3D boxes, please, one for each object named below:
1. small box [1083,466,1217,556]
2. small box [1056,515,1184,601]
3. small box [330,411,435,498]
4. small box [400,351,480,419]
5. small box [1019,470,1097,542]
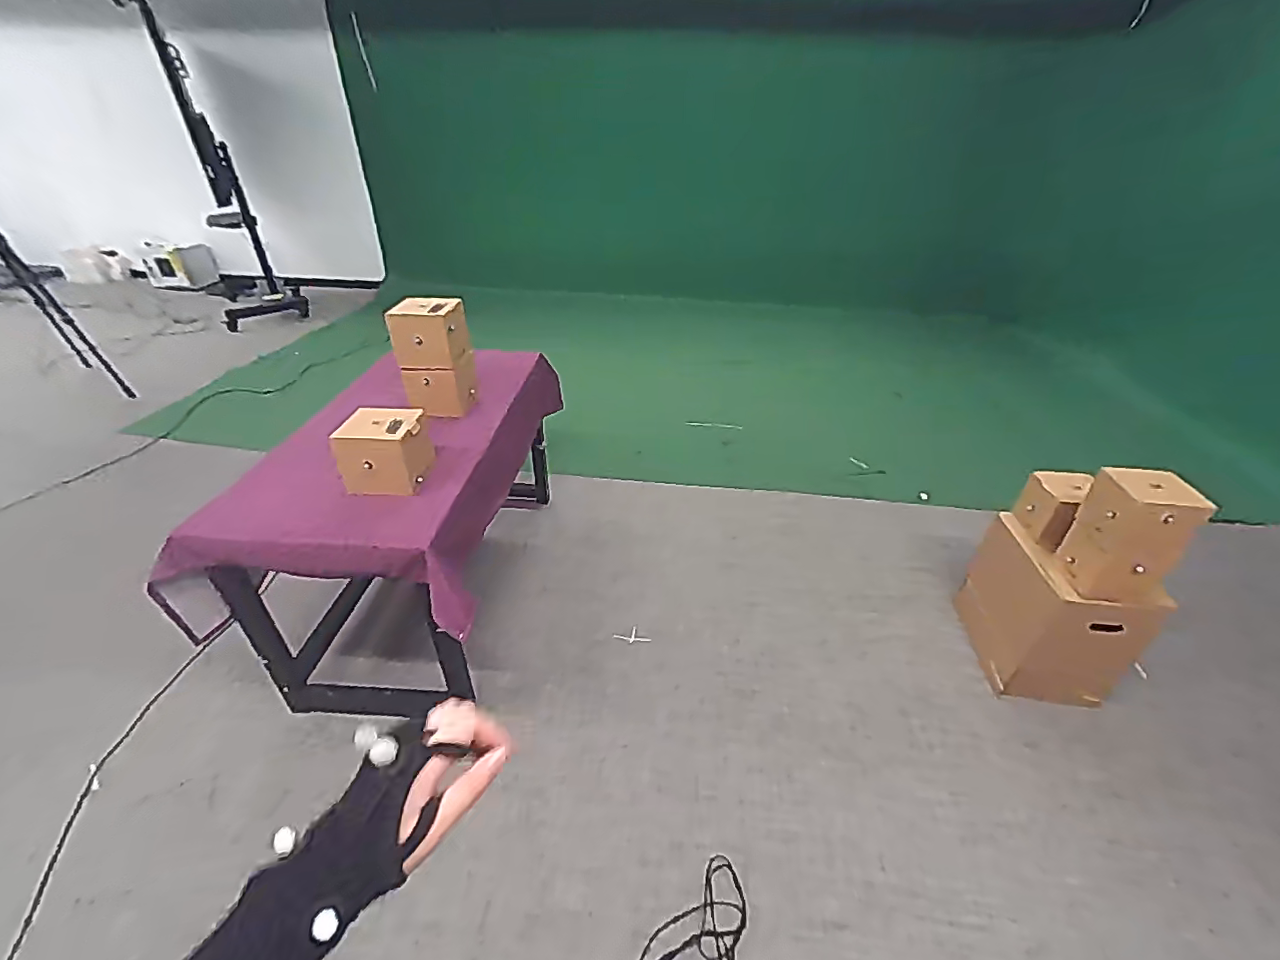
[{"bbox_3d":[1.310,0.081,1.412,0.179,0.176,0.168,5,34,6],"label":"small box"},{"bbox_3d":[1.319,0.217,1.502,0.179,0.176,0.168,4,33,5],"label":"small box"},{"bbox_3d":[-0.654,-0.066,1.401,0.179,0.176,0.168,1,34,2],"label":"small box"},{"bbox_3d":[-0.643,-0.309,1.760,0.179,0.176,0.168,4,35,5],"label":"small box"},{"bbox_3d":[1.329,0.086,1.693,0.179,0.176,0.168,3,36,6],"label":"small box"}]
